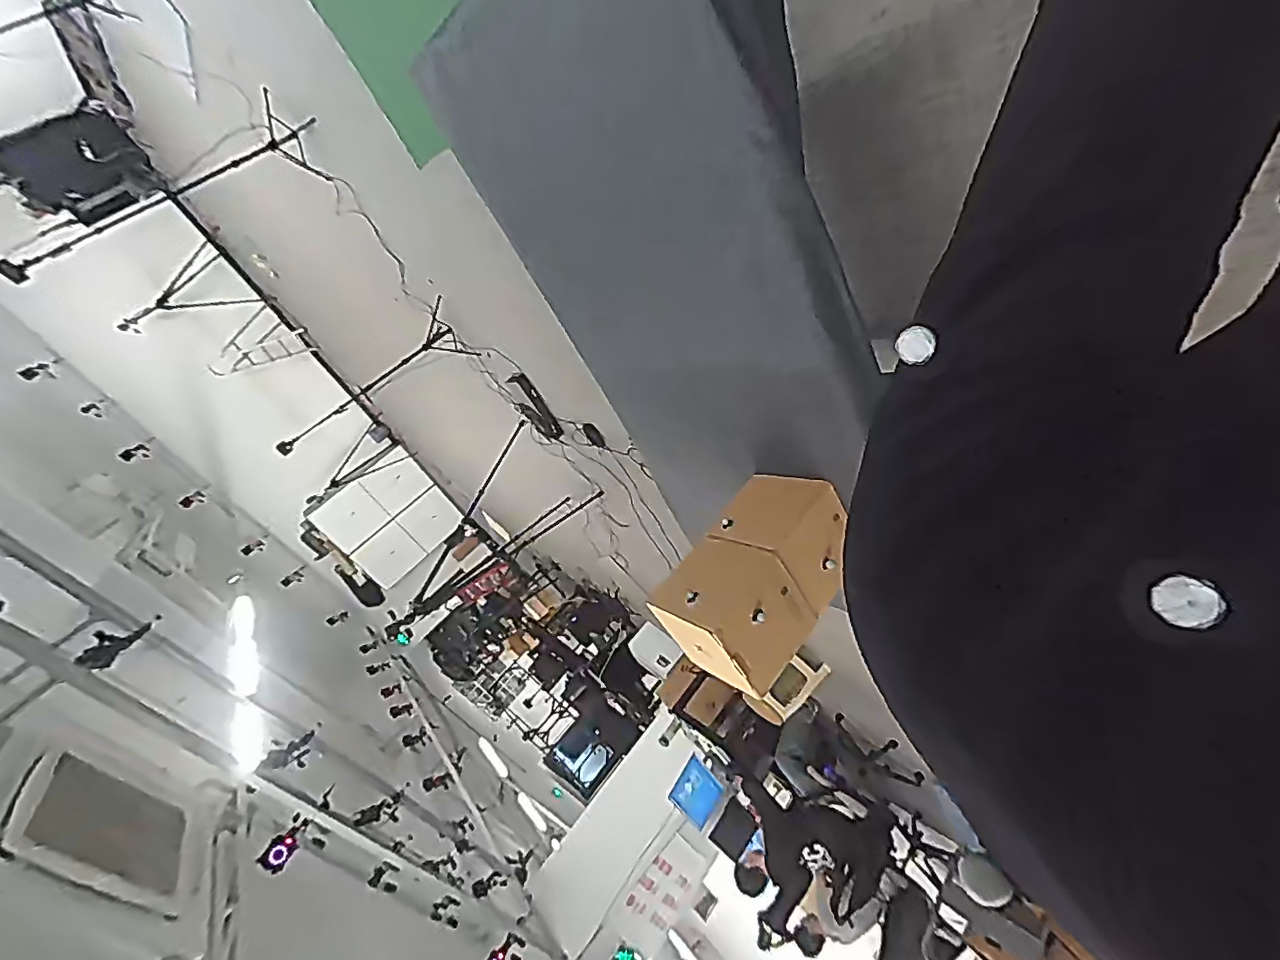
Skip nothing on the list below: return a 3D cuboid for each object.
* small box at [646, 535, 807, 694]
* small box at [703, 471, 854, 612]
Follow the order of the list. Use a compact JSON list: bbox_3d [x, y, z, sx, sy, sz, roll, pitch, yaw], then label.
[{"bbox_3d":[0.150,0.210,0.896,0.179,0.176,0.168,8,138,57],"label":"small box"},{"bbox_3d":[0.253,0.099,0.958,0.179,0.176,0.168,8,139,56],"label":"small box"}]
